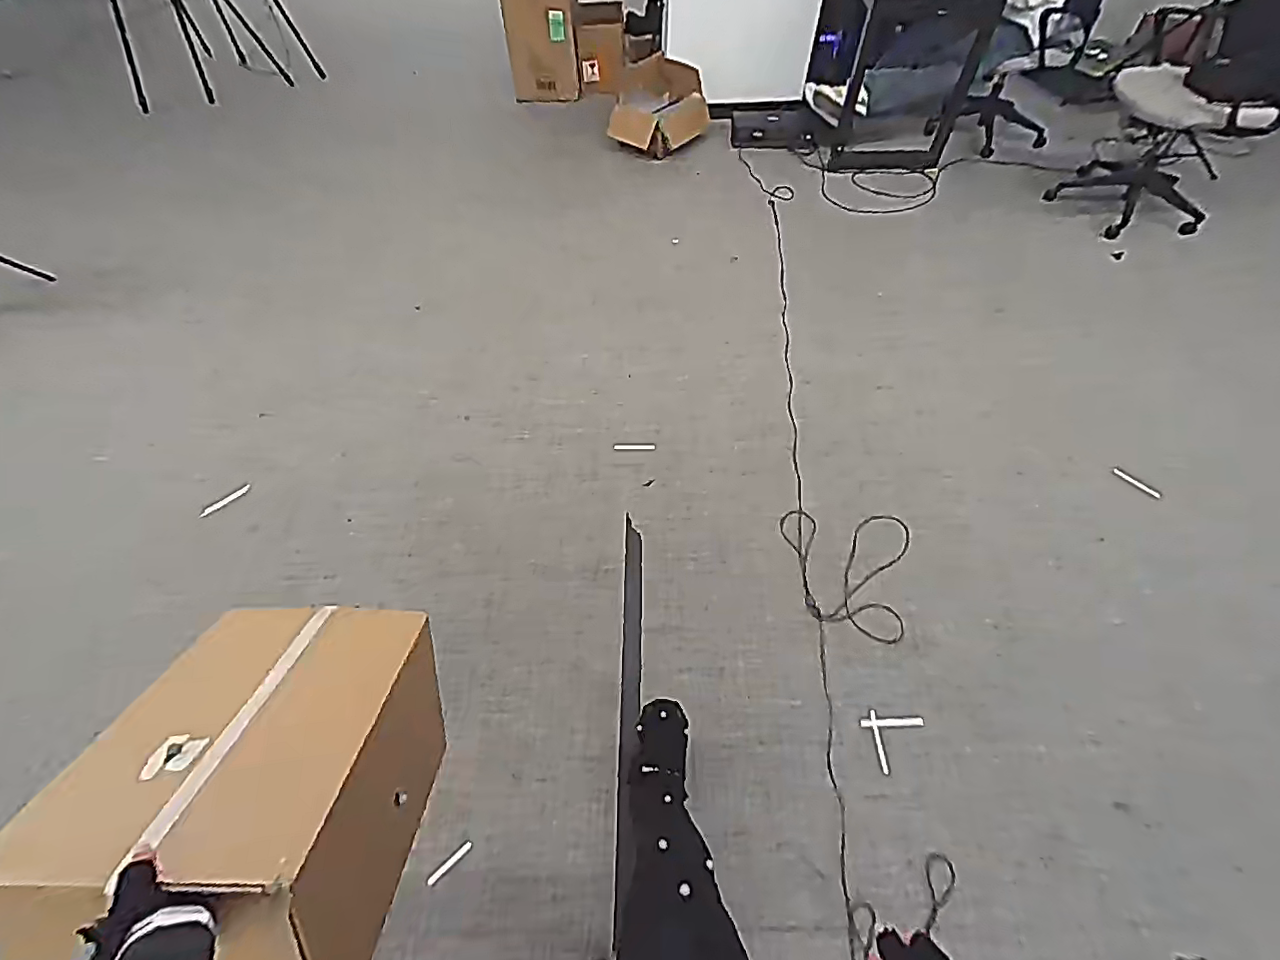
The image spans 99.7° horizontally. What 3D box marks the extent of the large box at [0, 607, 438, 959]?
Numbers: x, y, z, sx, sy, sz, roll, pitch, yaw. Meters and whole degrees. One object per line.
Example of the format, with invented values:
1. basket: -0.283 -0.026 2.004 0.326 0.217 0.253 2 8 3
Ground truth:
1. large box: -0.509 0.435 0.772 0.320 0.320 0.408 2 27 -2
